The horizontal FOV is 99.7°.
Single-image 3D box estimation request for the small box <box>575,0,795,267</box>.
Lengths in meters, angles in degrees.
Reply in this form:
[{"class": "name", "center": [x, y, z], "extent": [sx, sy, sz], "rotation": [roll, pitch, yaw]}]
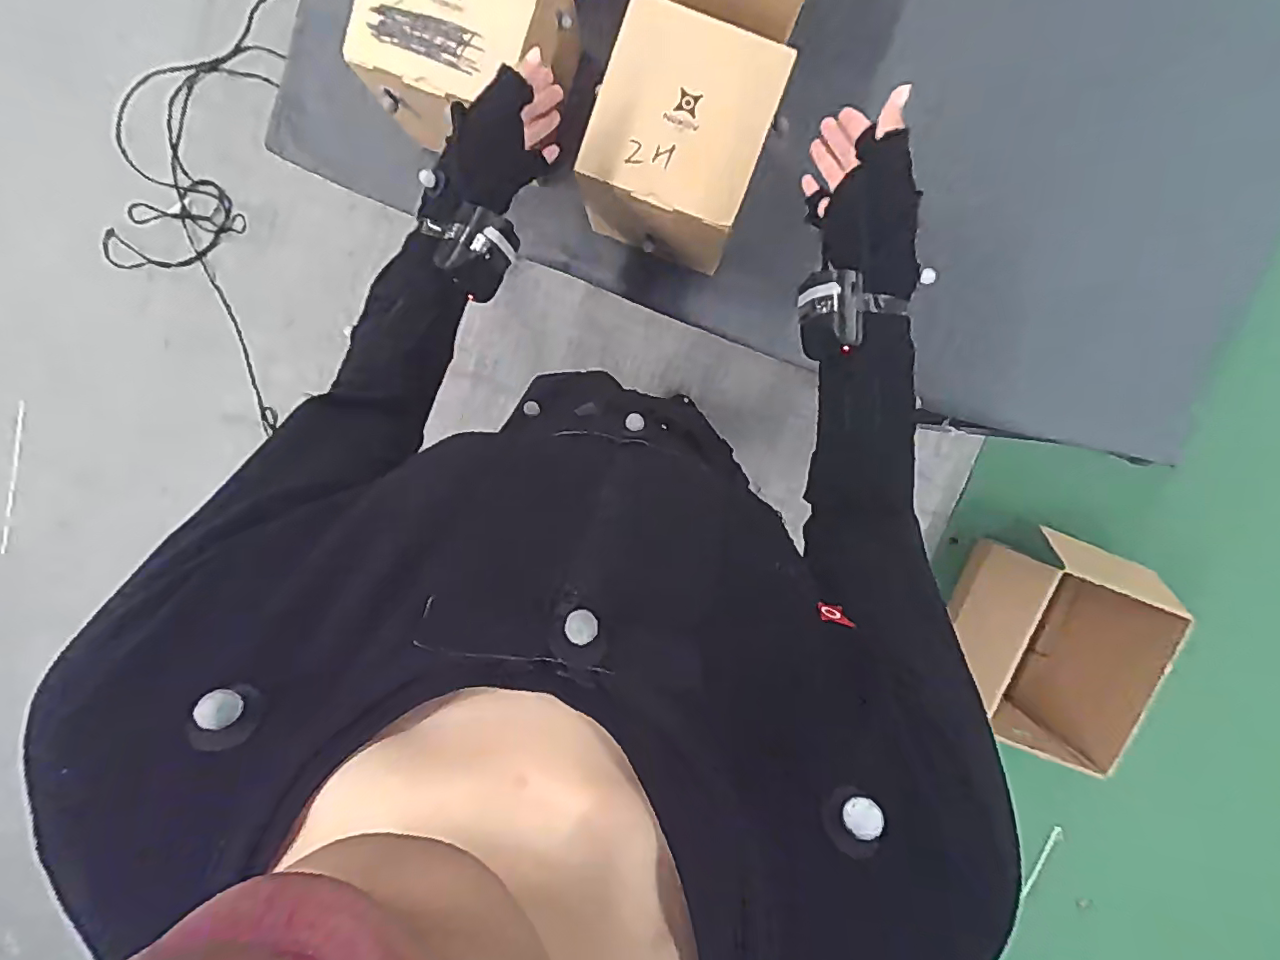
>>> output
[{"class": "small box", "center": [0.042, -0.364, 0.592], "extent": [0.168, 0.176, 0.179], "rotation": [21, 97, -1]}]
